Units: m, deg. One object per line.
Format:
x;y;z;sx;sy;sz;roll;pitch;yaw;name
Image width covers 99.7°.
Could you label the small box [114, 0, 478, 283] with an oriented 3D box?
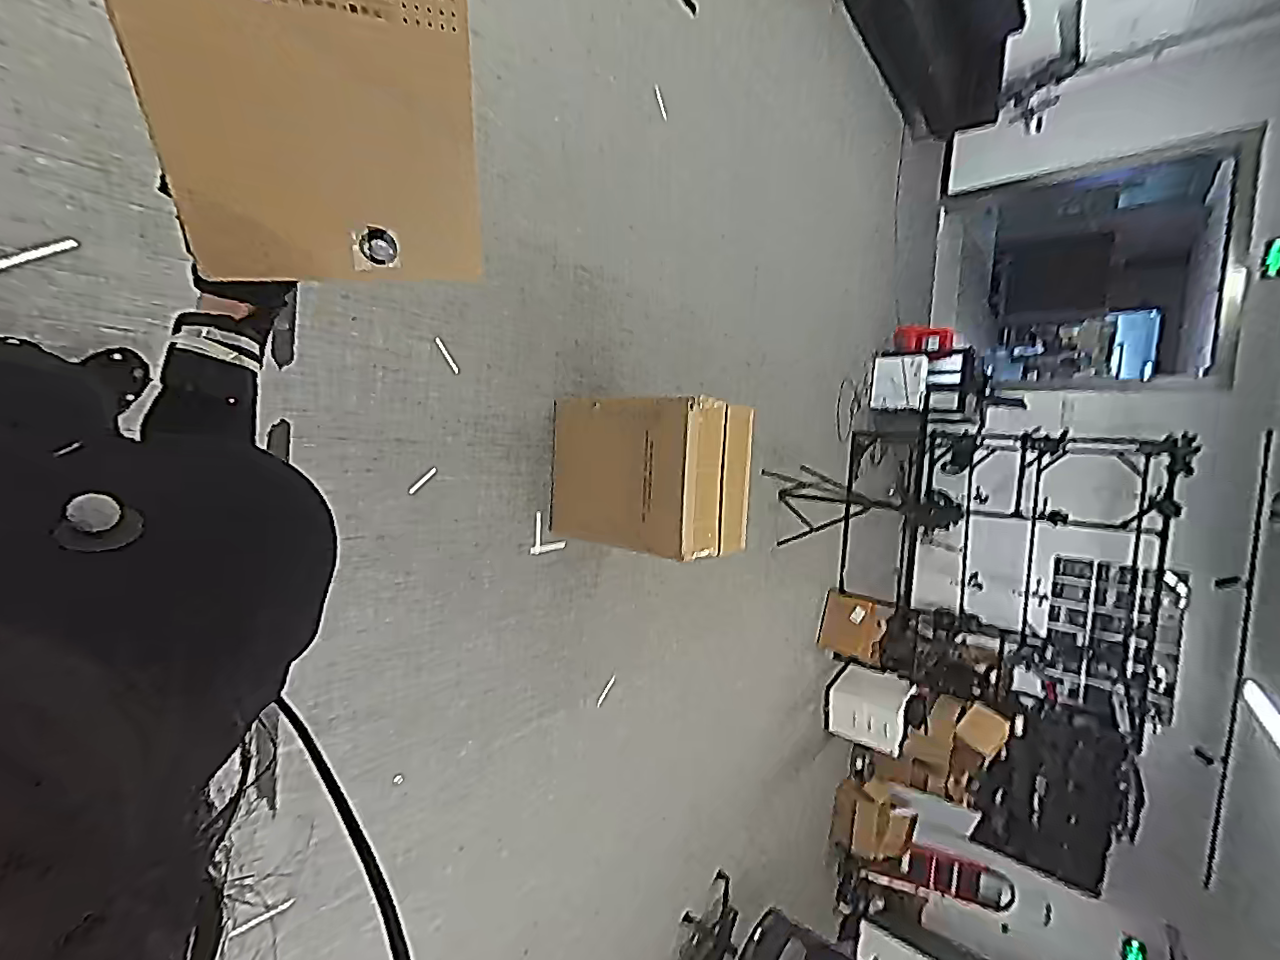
-0.209;-0.246;0.363;0.168;0.179;0.176;-8;129;-24;small box
